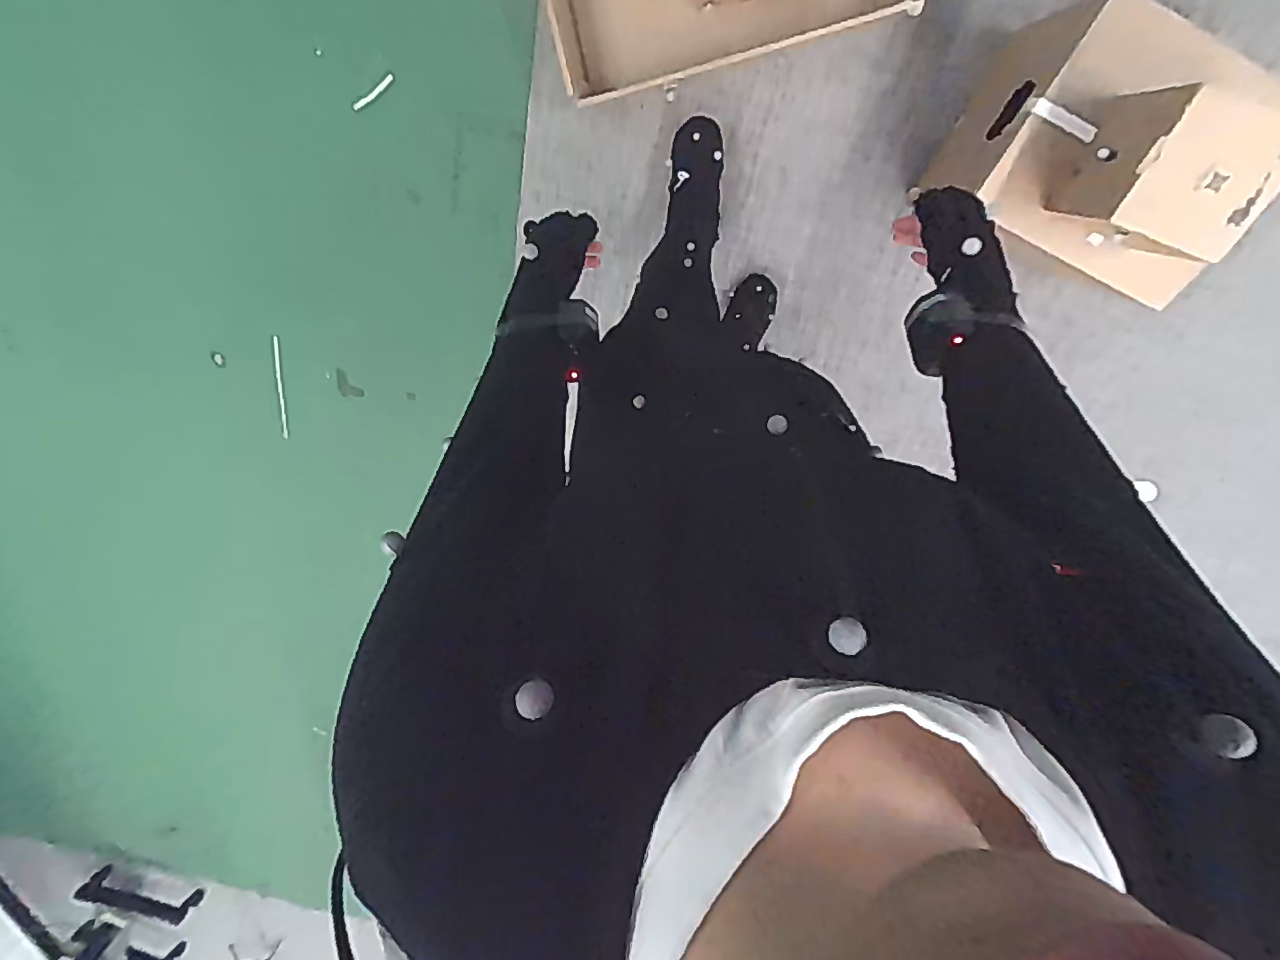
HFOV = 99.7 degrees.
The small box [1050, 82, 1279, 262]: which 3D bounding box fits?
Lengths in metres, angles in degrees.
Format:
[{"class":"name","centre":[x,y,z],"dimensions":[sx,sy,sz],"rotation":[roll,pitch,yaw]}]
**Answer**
[{"class":"small box","centre":[0.752,-0.434,0.776],"dimensions":[0.179,0.176,0.168],"rotation":[20,121,-3]}]

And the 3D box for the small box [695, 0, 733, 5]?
[{"class":"small box","centre":[0.160,-0.918,0.888],"dimensions":[0.168,0.176,0.179],"rotation":[0,118,9]}]
